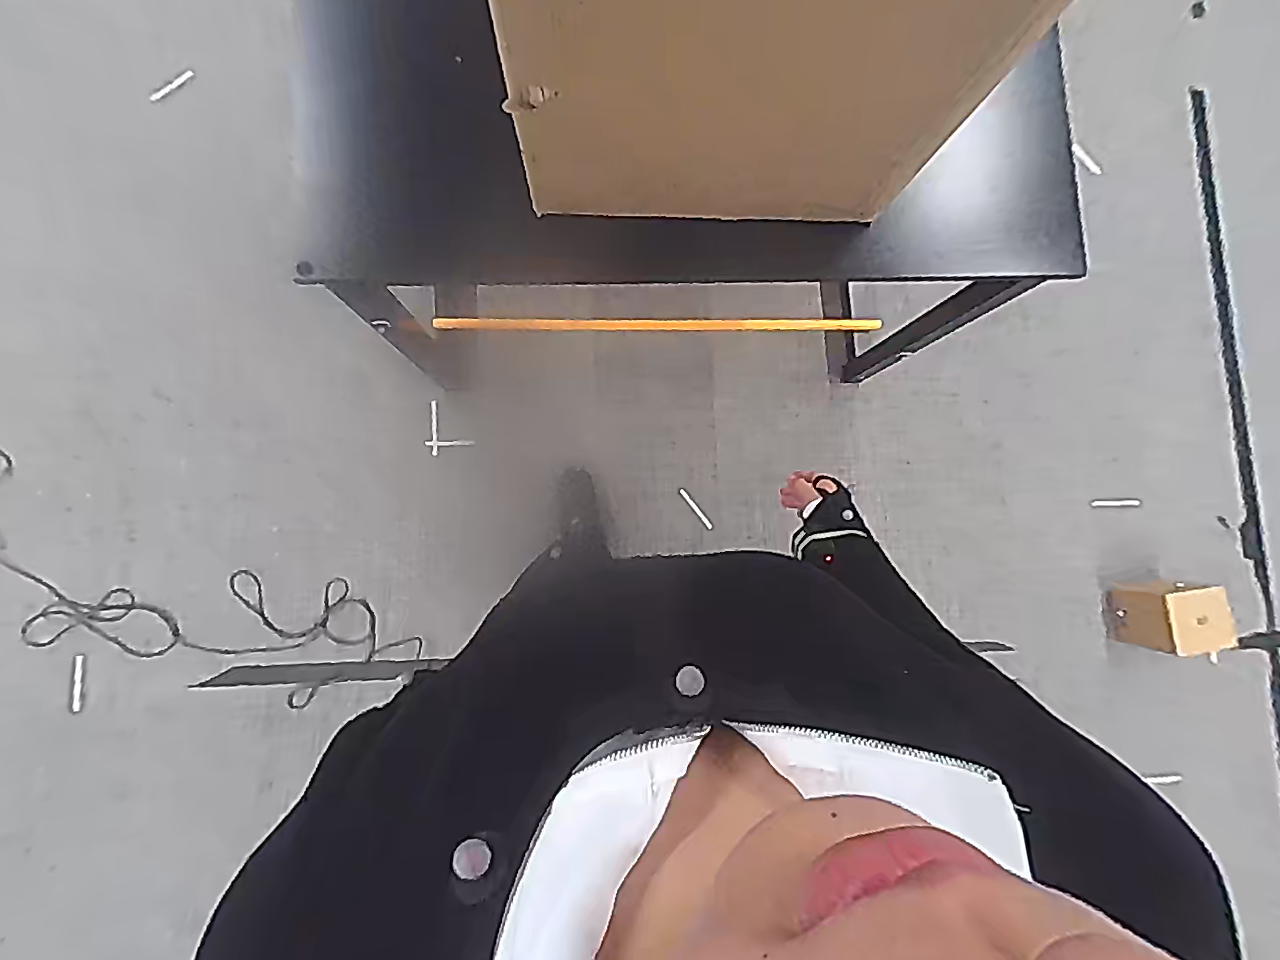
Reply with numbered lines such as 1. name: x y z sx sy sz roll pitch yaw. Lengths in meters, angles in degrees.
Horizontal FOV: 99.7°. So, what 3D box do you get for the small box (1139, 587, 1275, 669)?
1. small box: 1.506 0.388 1.445 0.179 0.176 0.168 -9 86 -4
